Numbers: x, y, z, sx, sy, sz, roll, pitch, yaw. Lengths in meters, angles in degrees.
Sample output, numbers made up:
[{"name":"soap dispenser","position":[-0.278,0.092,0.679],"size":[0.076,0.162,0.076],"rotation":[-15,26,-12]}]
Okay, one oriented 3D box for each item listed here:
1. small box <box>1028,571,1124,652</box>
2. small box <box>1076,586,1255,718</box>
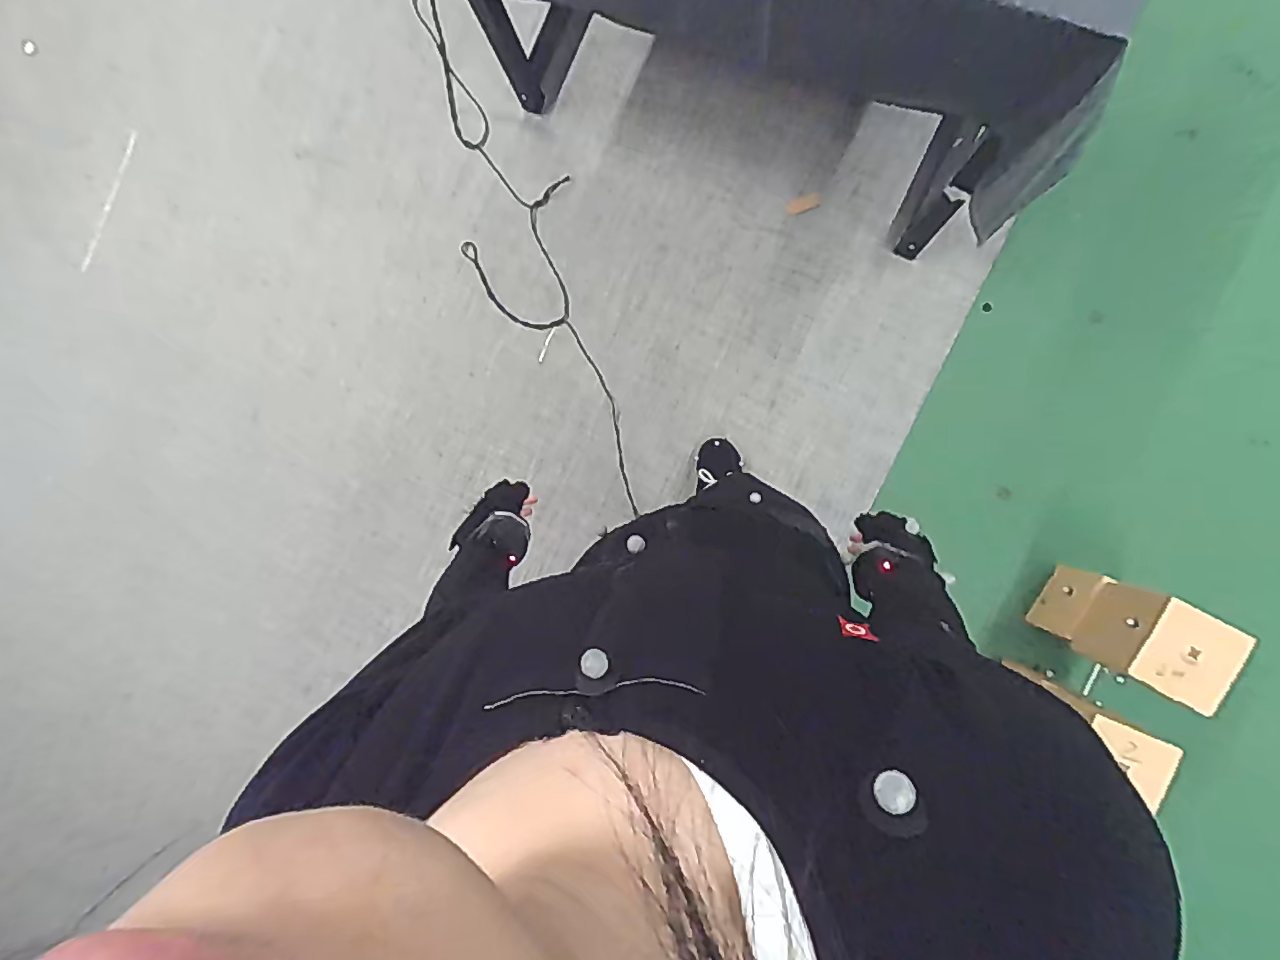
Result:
[{"name":"small box","position":[1.069,0.327,1.269],"size":[0.179,0.176,0.168],"rotation":[30,93,6]},{"name":"small box","position":[1.054,0.337,1.104],"size":[0.168,0.176,0.179],"rotation":[29,93,7]}]
